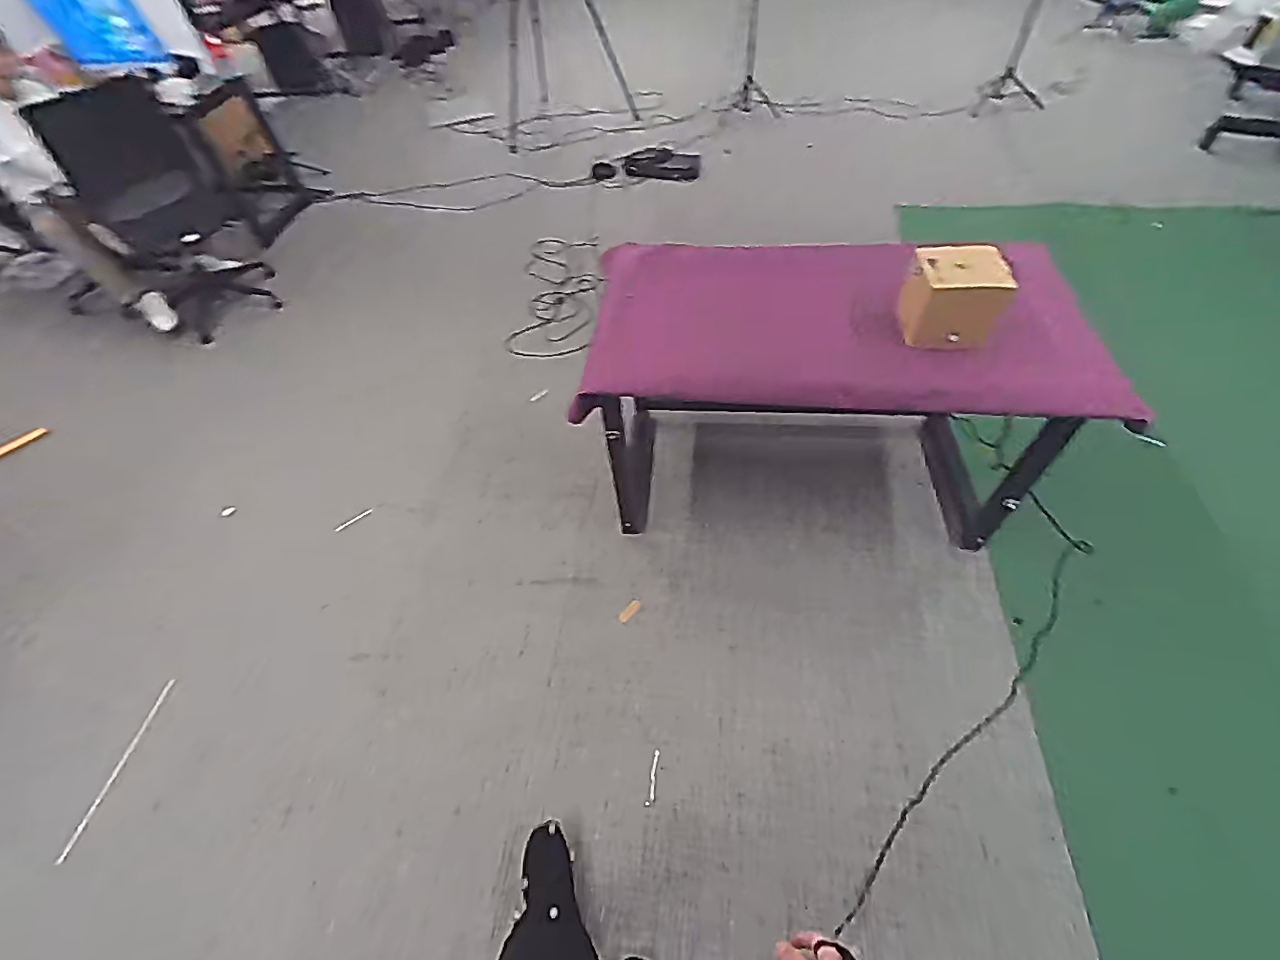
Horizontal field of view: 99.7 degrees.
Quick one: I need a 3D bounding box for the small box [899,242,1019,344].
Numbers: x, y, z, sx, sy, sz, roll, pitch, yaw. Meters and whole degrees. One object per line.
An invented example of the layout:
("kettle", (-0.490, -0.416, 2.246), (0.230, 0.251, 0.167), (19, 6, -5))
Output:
("small box", (0.736, -0.435, 1.270), (0.179, 0.176, 0.168), (2, 53, 7))
